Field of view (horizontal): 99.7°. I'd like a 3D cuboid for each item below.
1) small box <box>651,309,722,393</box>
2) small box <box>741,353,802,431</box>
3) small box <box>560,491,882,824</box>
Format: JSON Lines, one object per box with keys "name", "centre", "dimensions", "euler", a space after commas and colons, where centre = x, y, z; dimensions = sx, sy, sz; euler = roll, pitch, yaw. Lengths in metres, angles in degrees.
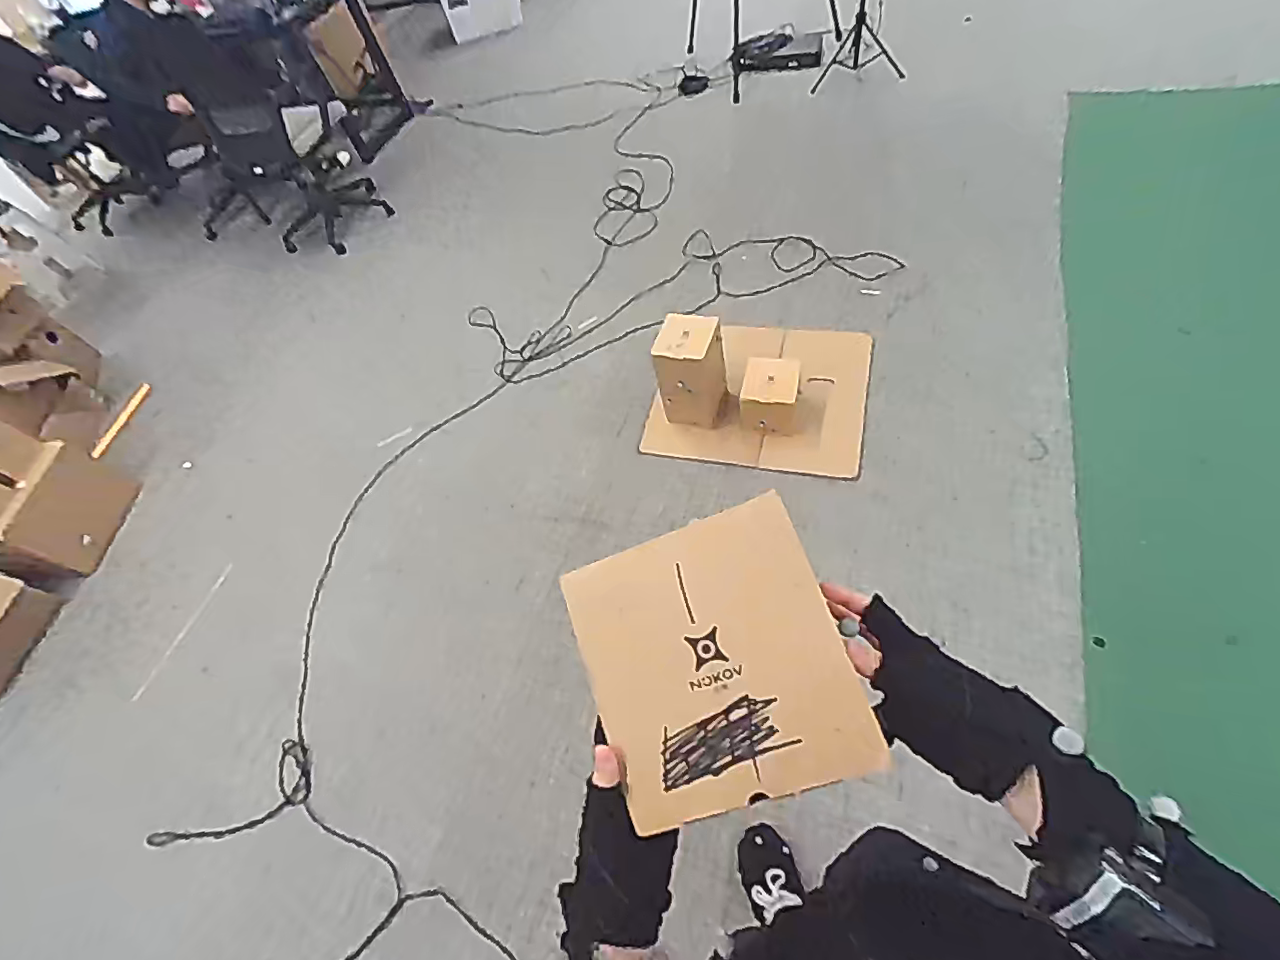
{"name": "small box", "centre": [0.150, -0.394, 1.653], "dimensions": [0.168, 0.176, 0.179], "euler": [11, 62, 21]}
{"name": "small box", "centre": [0.417, -0.279, 1.719], "dimensions": [0.168, 0.176, 0.179], "euler": [7, 62, 17]}
{"name": "small box", "centre": [0.066, 0.124, 0.425], "dimensions": [0.168, 0.176, 0.179], "euler": [-23, 76, 12]}
